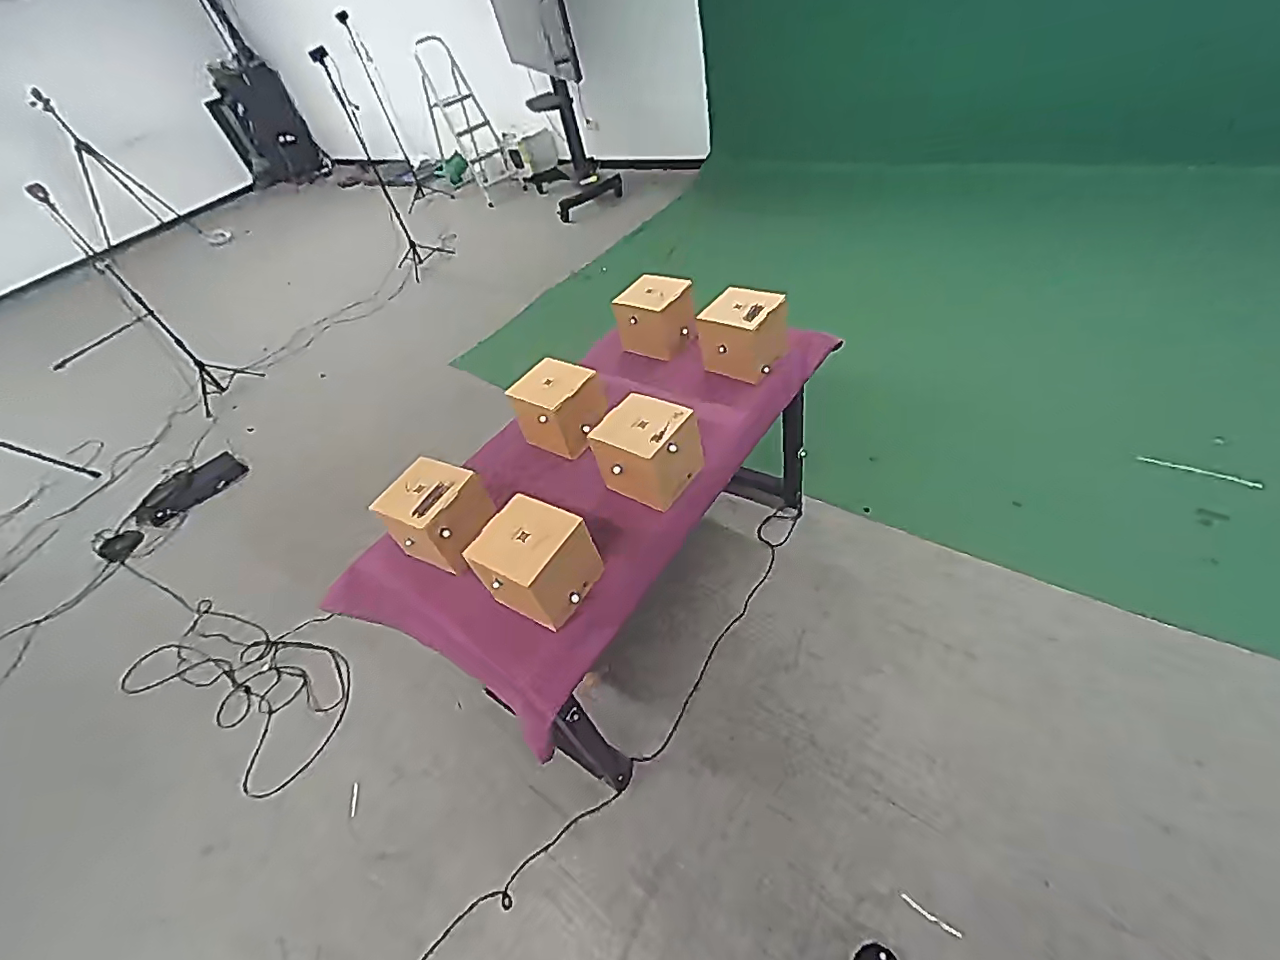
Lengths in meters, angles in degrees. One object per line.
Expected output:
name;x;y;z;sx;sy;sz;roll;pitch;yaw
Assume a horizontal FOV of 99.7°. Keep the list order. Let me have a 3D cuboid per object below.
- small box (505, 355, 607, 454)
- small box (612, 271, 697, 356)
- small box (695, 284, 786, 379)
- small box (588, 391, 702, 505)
small box;-0.207;-0.192;1.384;0.179;0.176;0.168;22;56;30
small box;0.048;-0.488;1.589;0.179;0.176;0.168;23;58;31
small box;0.275;-0.391;1.433;0.179;0.176;0.168;25;59;35
small box;0.017;-0.069;1.202;0.179;0.176;0.168;22;57;34
